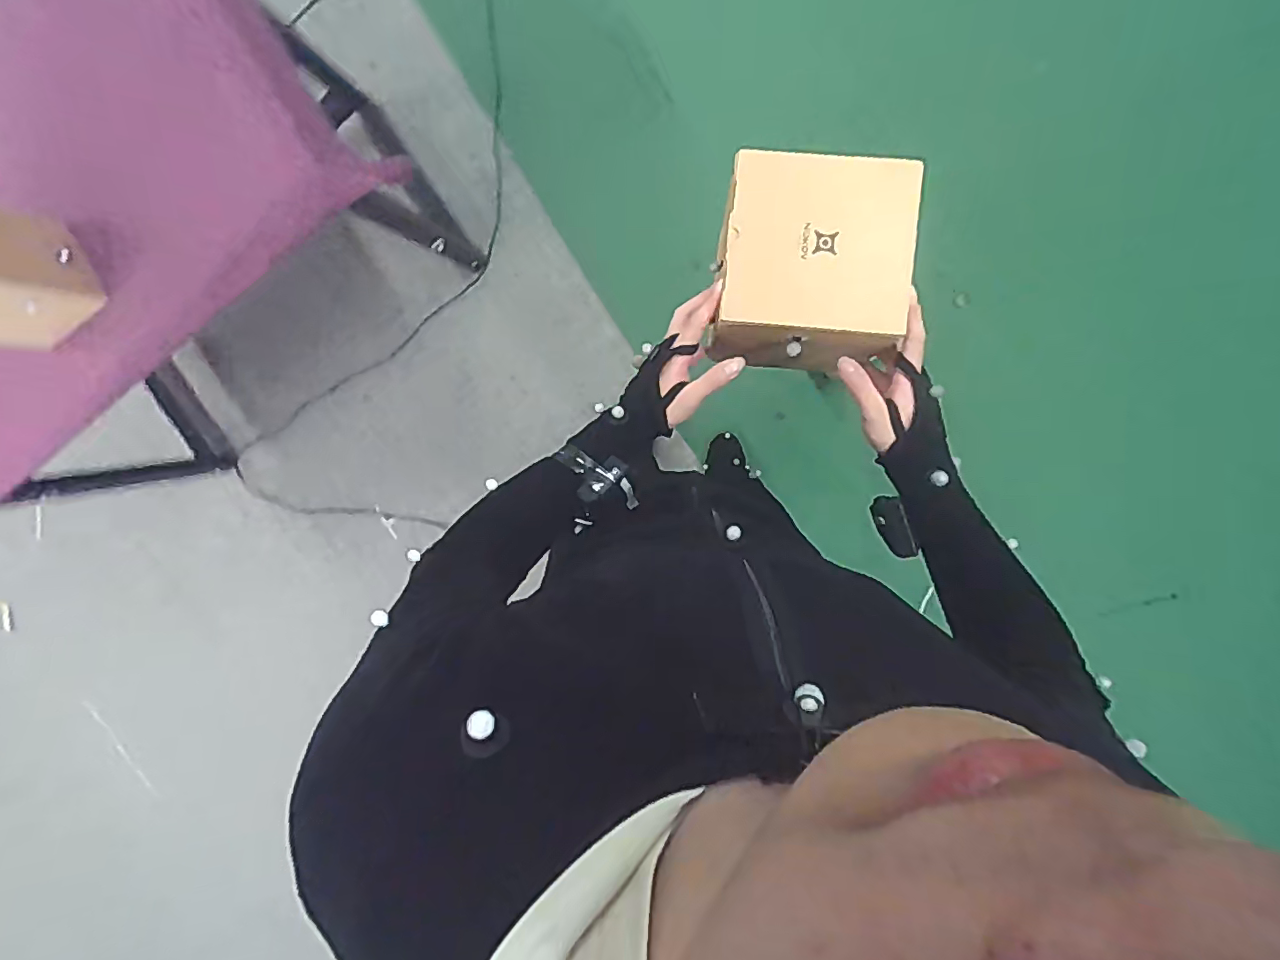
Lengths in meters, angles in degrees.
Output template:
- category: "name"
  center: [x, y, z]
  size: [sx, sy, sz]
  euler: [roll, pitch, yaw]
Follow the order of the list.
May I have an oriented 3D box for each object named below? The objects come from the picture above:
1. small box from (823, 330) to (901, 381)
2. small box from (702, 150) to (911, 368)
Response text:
- category: "small box"
  center: [0.547, -0.377, 1.426]
  size: [0.168, 0.176, 0.179]
  euler: [-35, 92, 11]
- category: "small box"
  center: [0.164, -0.222, 0.585]
  size: [0.179, 0.176, 0.168]
  euler: [5, 89, 5]
